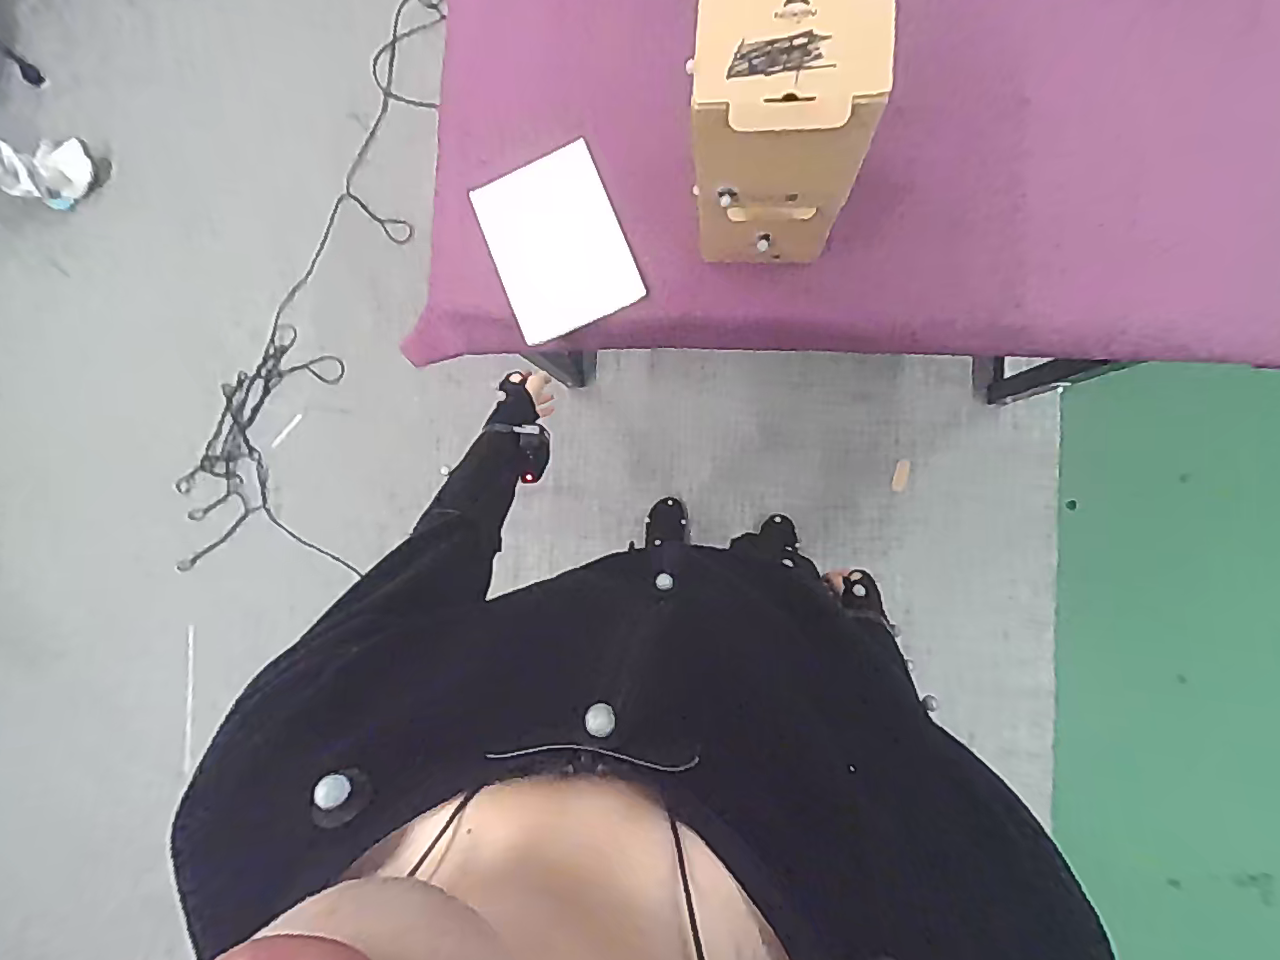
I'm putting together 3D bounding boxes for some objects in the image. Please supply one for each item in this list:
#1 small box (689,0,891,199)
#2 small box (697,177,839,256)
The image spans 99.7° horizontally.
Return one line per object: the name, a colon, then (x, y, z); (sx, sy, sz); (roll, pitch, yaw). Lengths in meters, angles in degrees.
small box: (0.142, -0.407, 0.544); (0.168, 0.176, 0.179); (4, 88, 8)
small box: (0.165, -0.409, 0.708); (0.168, 0.176, 0.179); (3, 90, 8)
